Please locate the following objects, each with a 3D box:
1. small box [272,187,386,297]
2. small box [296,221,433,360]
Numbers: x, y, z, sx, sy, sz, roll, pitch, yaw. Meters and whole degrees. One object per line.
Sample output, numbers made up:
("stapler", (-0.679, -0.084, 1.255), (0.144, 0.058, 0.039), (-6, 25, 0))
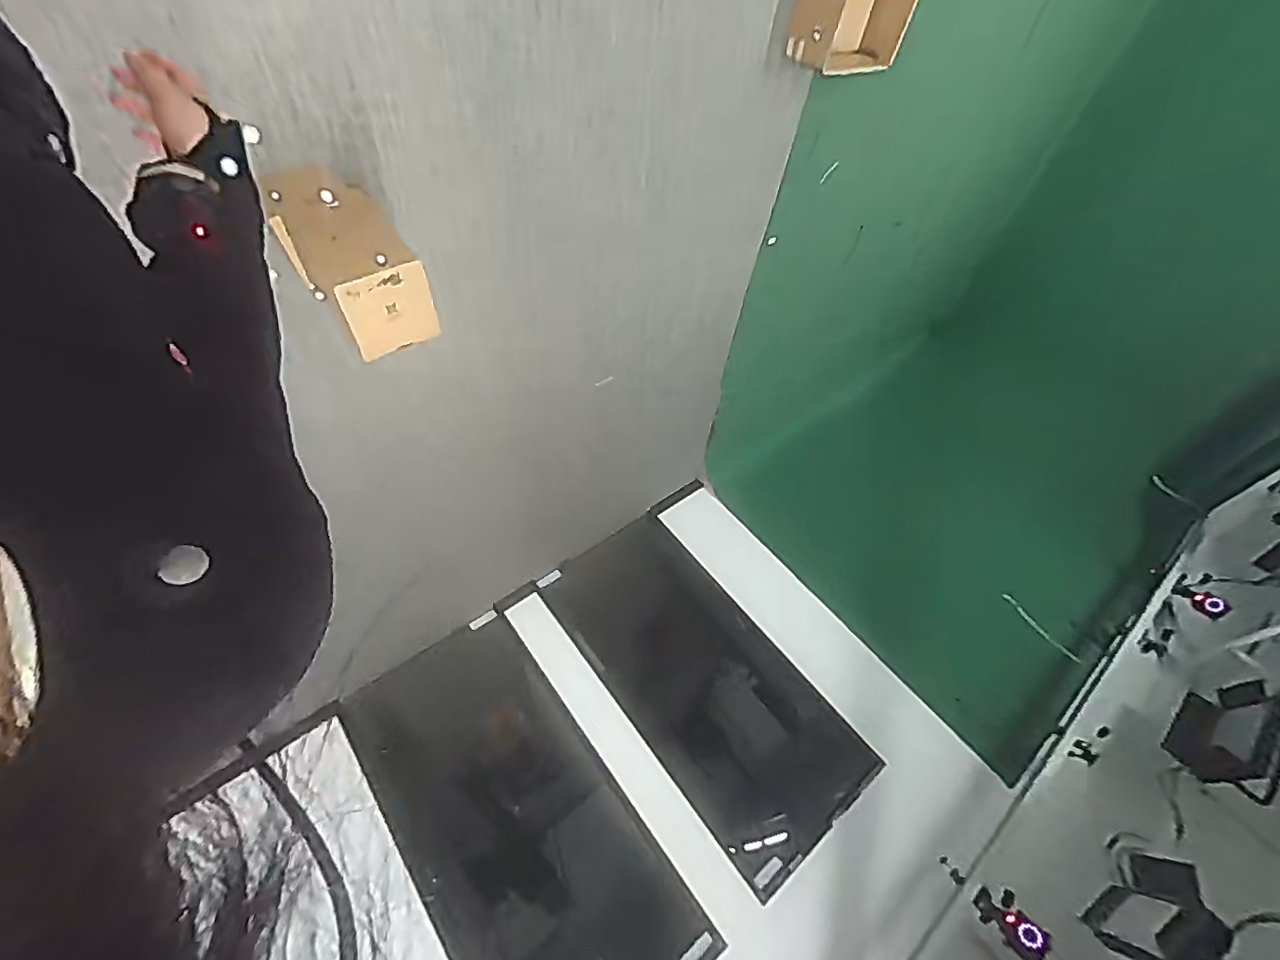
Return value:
("small box", (-0.636, -0.485, 1.147), (0.168, 0.176, 0.179), (-31, 152, -25))
("small box", (-0.539, -0.376, 1.071), (0.168, 0.176, 0.179), (-31, 153, -25))
